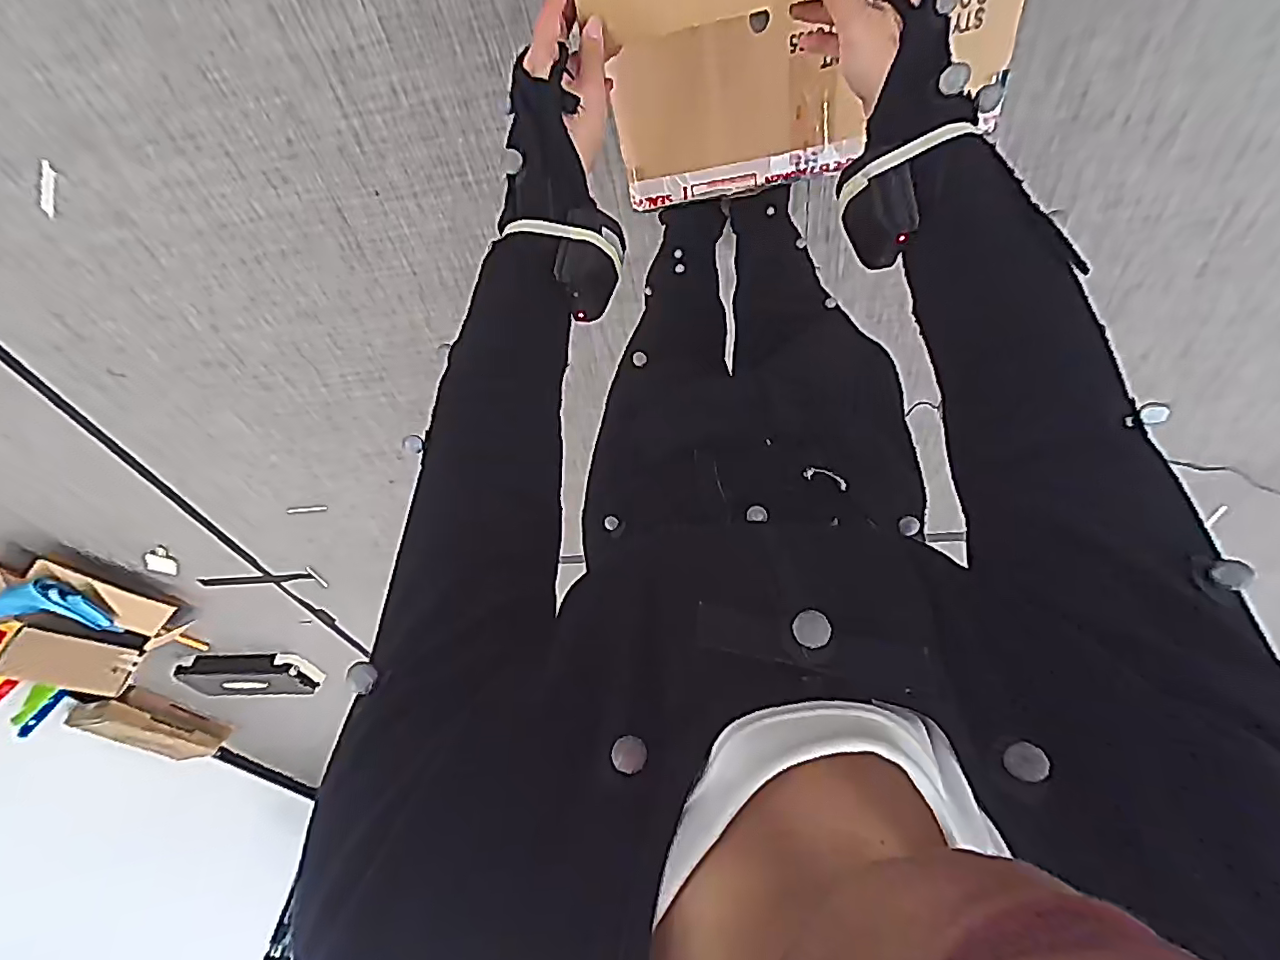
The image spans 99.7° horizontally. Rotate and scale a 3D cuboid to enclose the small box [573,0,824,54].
[{"bbox_3d":[0.034,-0.433,0.377,0.179,0.176,0.168,-4,137,11],"label":"small box"}]
